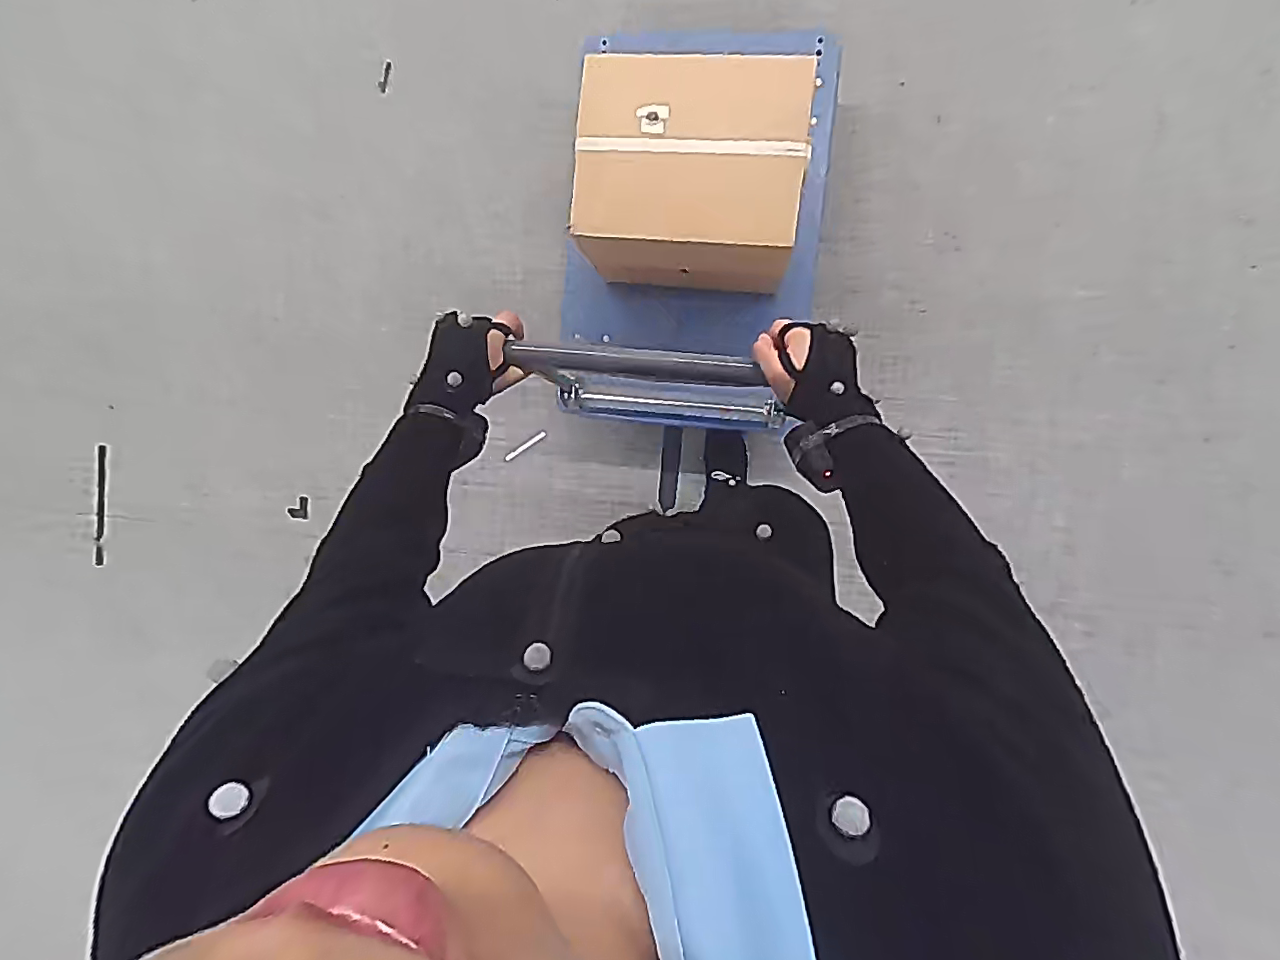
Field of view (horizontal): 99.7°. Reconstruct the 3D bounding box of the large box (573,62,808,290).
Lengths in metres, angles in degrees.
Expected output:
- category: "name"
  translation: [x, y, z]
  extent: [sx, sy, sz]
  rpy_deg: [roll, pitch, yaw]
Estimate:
- category: "large box"
  translation: [0.108, -0.594, 1.113]
  extent: [0.408, 0.320, 0.320]
  rpy_deg: [7, 94, 9]
